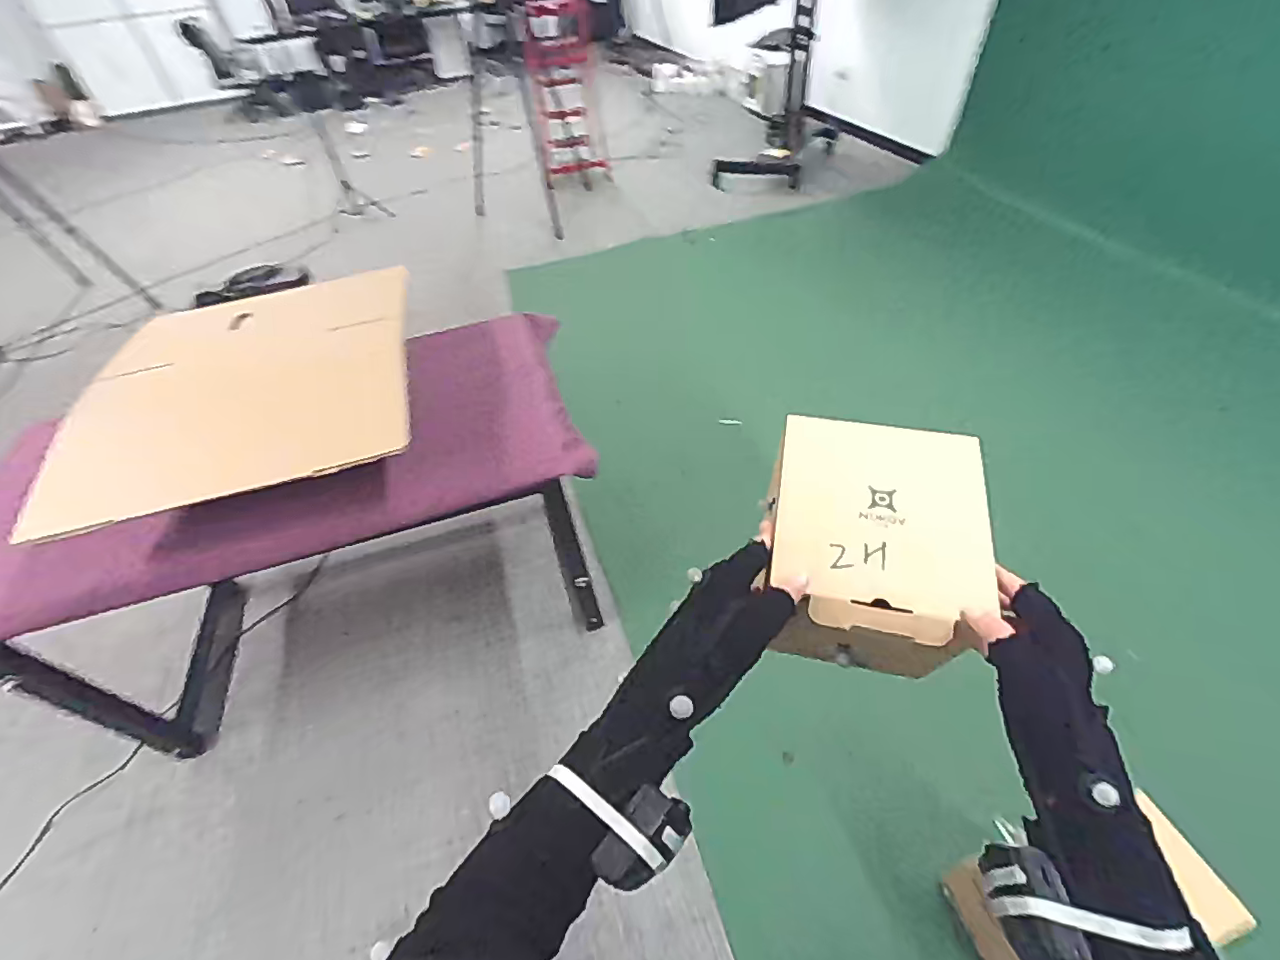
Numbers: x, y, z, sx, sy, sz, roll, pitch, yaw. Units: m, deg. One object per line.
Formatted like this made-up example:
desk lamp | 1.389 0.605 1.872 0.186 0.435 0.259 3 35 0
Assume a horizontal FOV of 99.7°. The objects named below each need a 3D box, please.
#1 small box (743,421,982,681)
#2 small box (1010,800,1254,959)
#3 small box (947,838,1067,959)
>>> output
small box | 0.194 0.071 0.516 0.168 0.176 0.179 8 59 11
small box | 0.710 0.613 0.809 0.179 0.176 0.168 -17 48 -9
small box | 0.734 0.831 1.052 0.179 0.176 0.168 -15 48 -8
